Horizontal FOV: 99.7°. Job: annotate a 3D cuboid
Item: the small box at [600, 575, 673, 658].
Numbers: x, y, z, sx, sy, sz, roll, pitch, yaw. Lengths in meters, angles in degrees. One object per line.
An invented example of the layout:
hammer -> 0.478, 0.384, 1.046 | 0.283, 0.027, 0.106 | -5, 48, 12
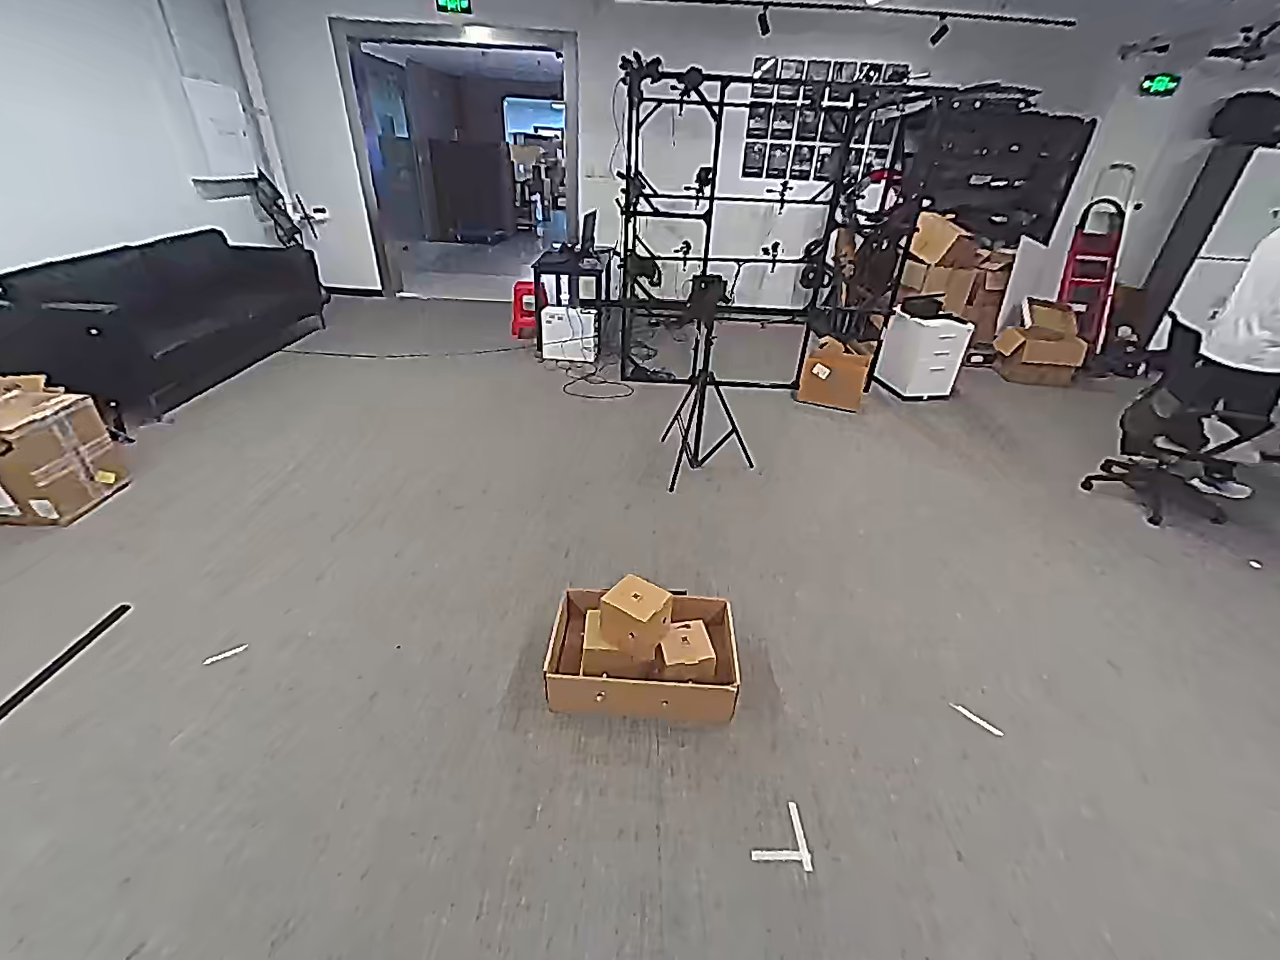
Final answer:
small box -> -0.013, 0.443, 1.747 | 0.179, 0.176, 0.168 | 20, 32, 28

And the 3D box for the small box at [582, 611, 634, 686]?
small box -> -0.107, 0.571, 1.840 | 0.168, 0.176, 0.179 | 3, 31, -2
